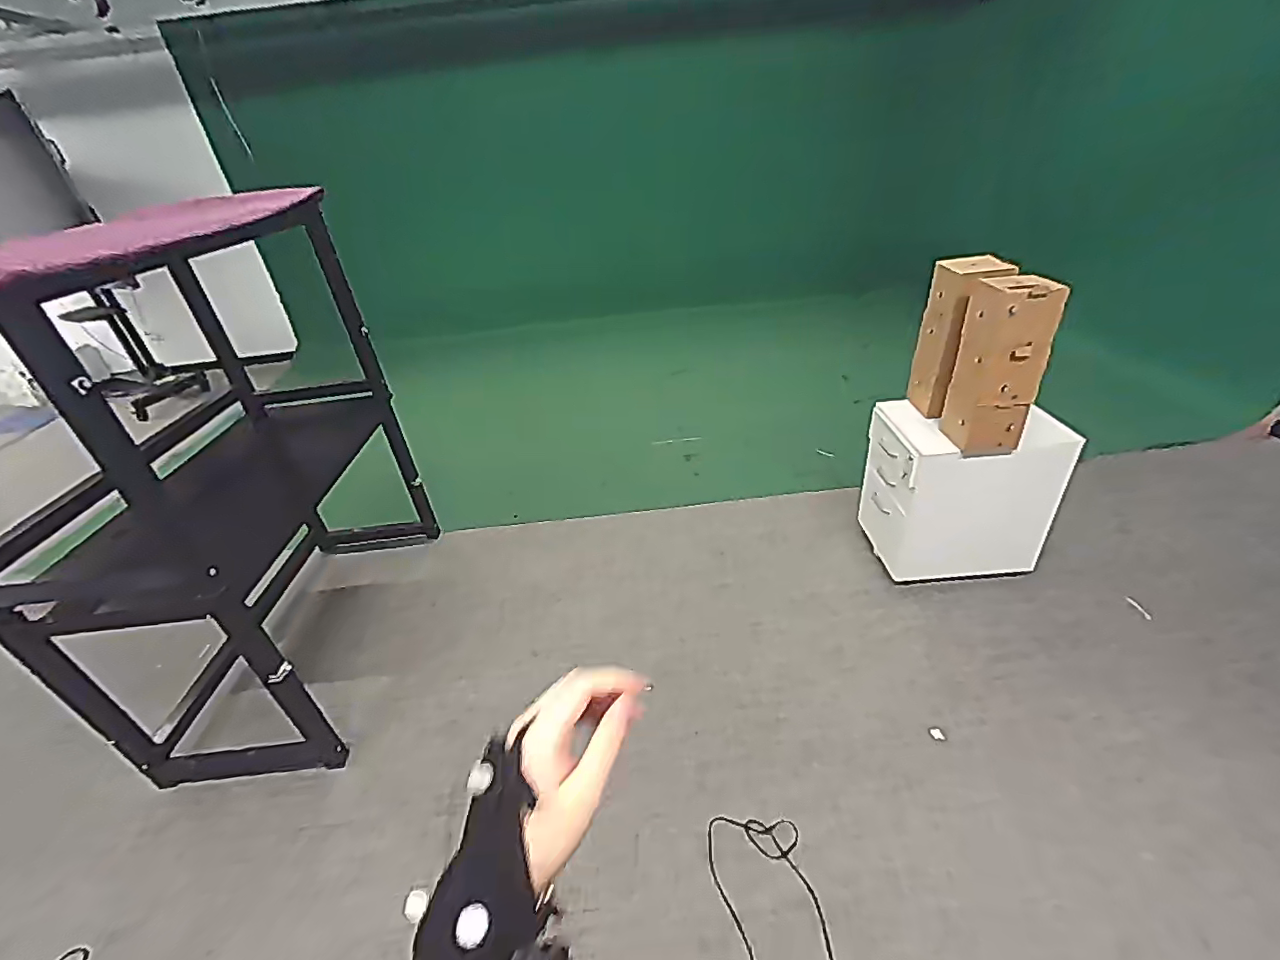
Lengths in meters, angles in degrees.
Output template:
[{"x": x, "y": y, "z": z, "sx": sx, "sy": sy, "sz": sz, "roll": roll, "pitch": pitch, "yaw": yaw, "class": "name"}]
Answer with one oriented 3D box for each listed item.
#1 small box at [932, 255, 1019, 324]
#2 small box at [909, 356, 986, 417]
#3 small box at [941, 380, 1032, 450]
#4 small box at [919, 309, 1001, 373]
[{"x": 1.061, "y": -0.608, "z": 1.733, "sx": 0.179, "sy": 0.176, "sz": 0.168, "roll": -5, "pitch": 35, "yaw": 2, "class": "small box"}, {"x": 1.083, "y": -0.338, "z": 1.921, "sx": 0.168, "sy": 0.176, "sz": 0.179, "roll": -5, "pitch": 34, "yaw": 3, "class": "small box"}, {"x": 1.090, "y": -0.202, "z": 1.716, "sx": 0.168, "sy": 0.176, "sz": 0.179, "roll": -4, "pitch": 31, "yaw": 1, "class": "small box"}, {"x": 1.072, "y": -0.475, "z": 1.830, "sx": 0.168, "sy": 0.176, "sz": 0.179, "roll": -5, "pitch": 35, "yaw": 2, "class": "small box"}]
